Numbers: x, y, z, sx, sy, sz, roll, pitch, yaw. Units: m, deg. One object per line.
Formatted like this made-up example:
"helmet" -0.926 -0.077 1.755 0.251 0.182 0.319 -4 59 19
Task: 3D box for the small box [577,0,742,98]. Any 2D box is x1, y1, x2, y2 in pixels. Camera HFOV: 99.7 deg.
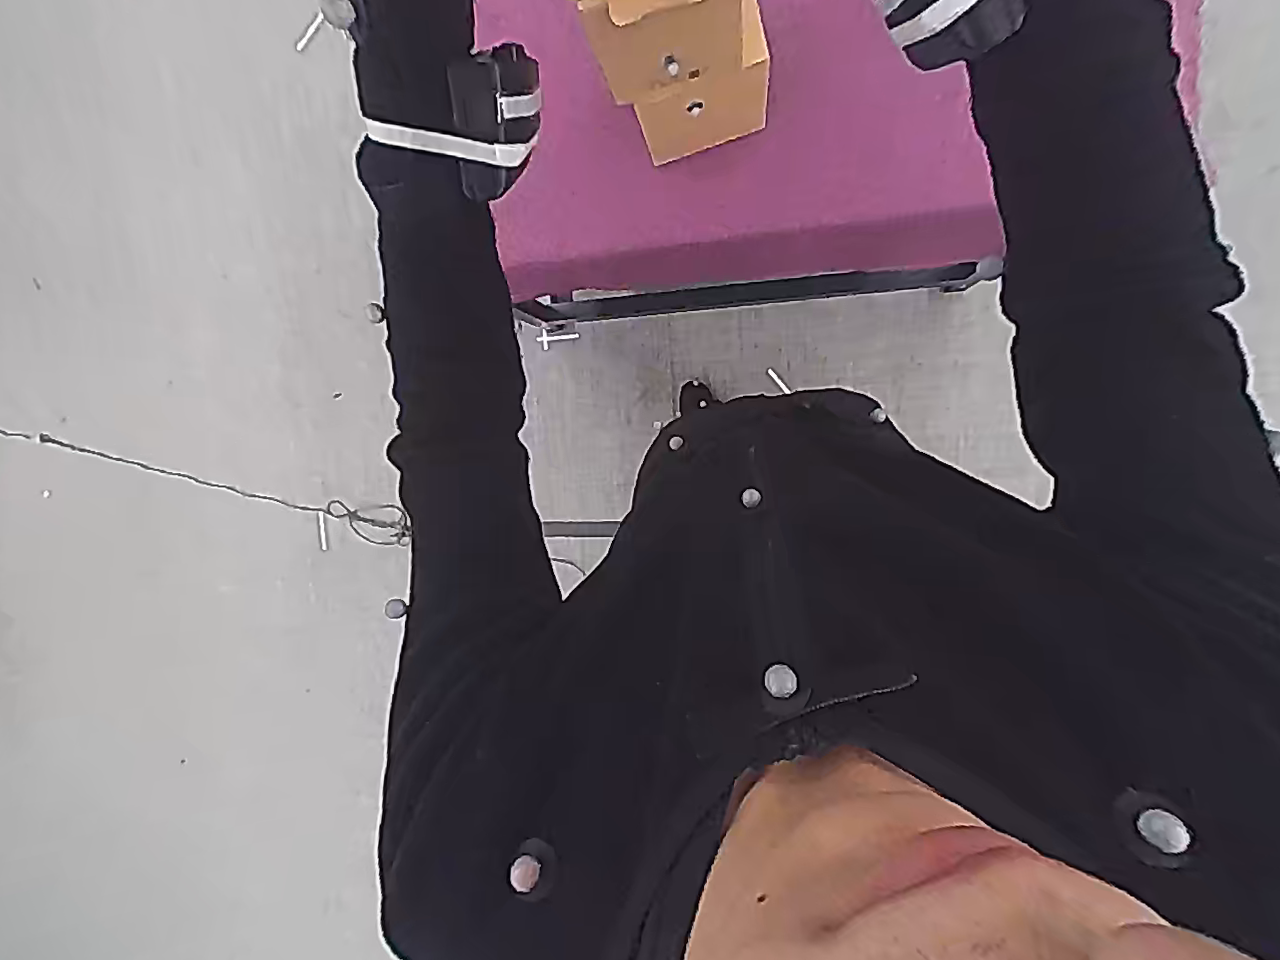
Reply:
"small box" 0.019 -0.572 0.592 0.168 0.176 0.179 -8 95 12

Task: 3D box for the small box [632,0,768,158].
"small box" 0.072 -0.585 0.749 0.179 0.176 0.168 -13 94 11
